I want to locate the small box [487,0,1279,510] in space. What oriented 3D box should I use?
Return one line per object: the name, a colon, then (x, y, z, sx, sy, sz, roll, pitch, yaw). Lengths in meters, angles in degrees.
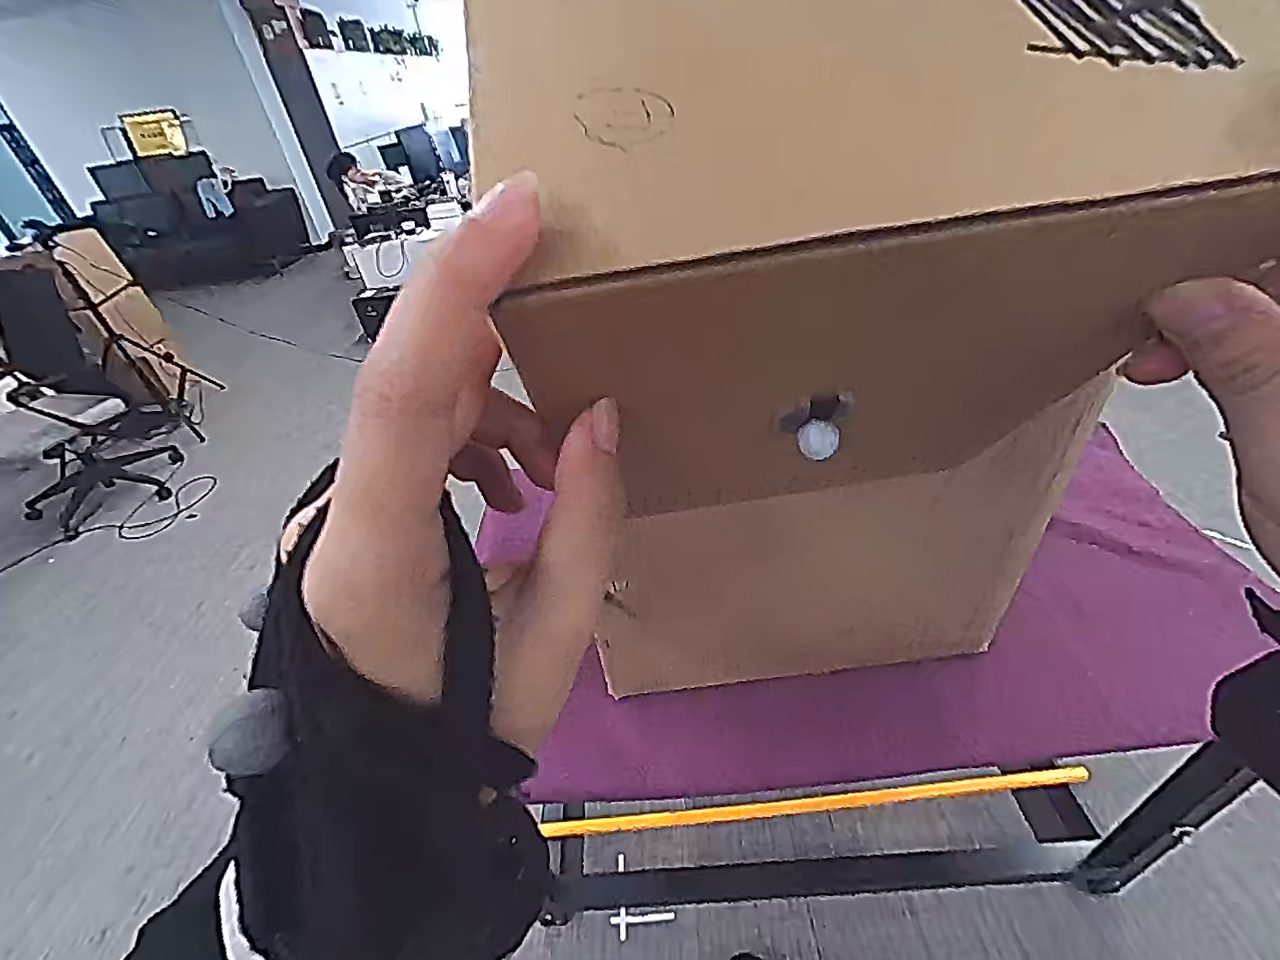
small box: (0.054, -0.097, 0.198, 0.179, 0.176, 0.168, -9, 71, 0)
